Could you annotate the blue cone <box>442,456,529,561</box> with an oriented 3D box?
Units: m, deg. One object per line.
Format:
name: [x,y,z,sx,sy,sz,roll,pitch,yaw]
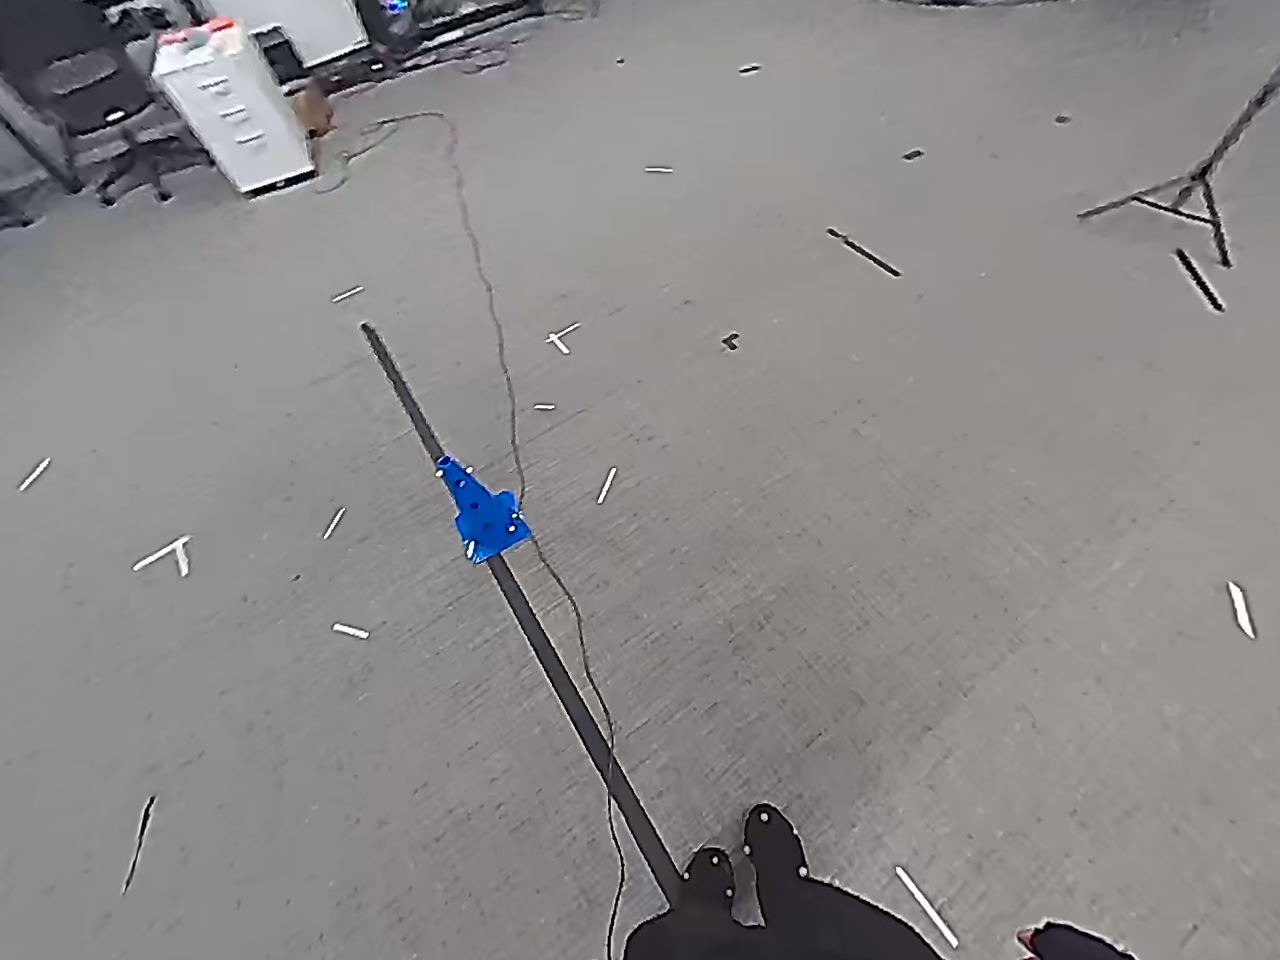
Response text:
blue cone: [-0.476,0.049,1.540,0.193,0.380,0.192,-29,58,-12]
